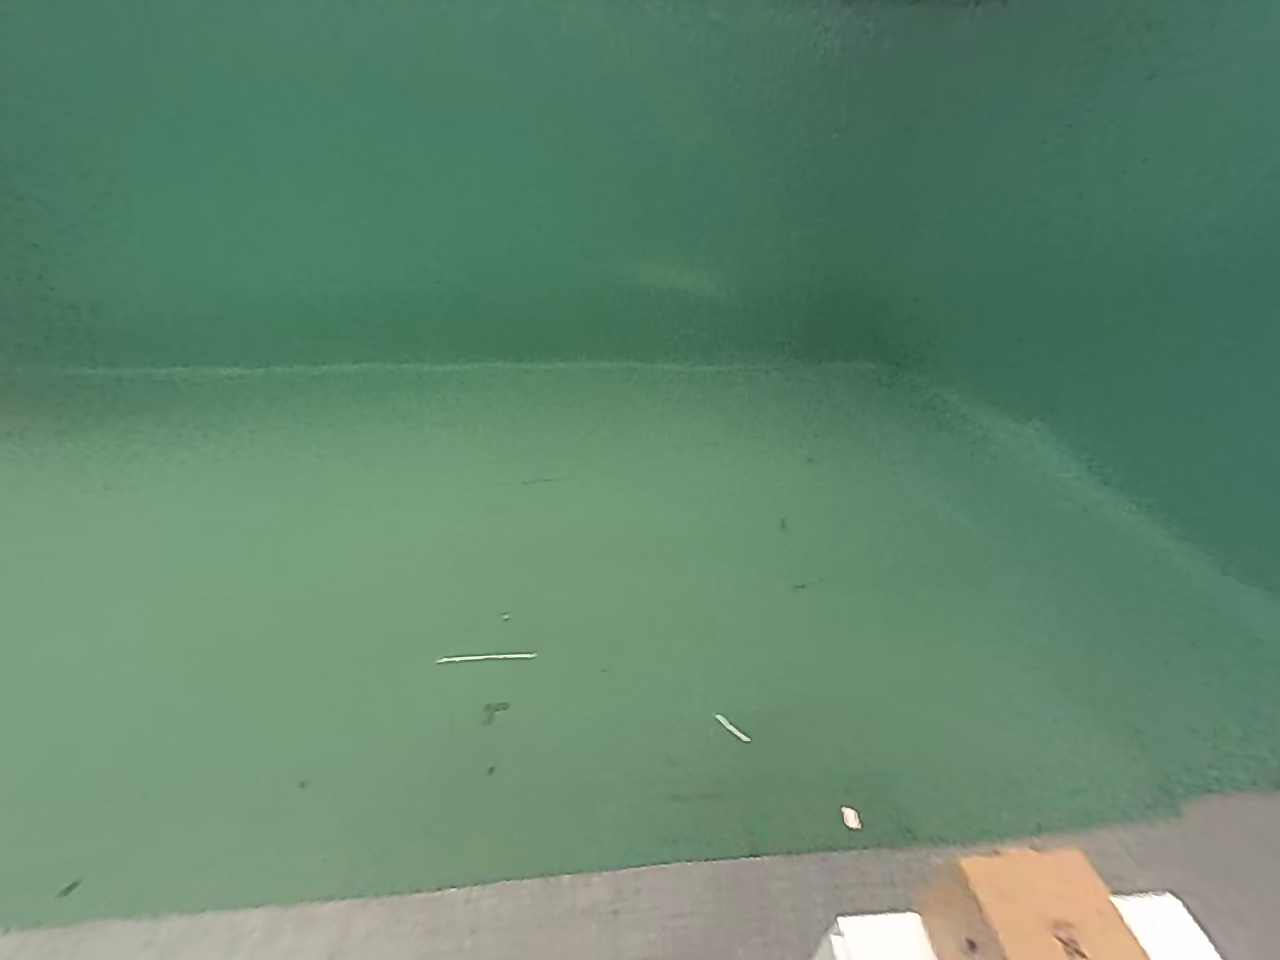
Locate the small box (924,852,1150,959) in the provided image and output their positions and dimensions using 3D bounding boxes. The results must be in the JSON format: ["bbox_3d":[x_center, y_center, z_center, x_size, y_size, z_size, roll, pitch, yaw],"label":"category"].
[{"bbox_3d":[0.483,0.592,0.659,0.168,0.176,0.179,-1,35,-4],"label":"small box"}]
